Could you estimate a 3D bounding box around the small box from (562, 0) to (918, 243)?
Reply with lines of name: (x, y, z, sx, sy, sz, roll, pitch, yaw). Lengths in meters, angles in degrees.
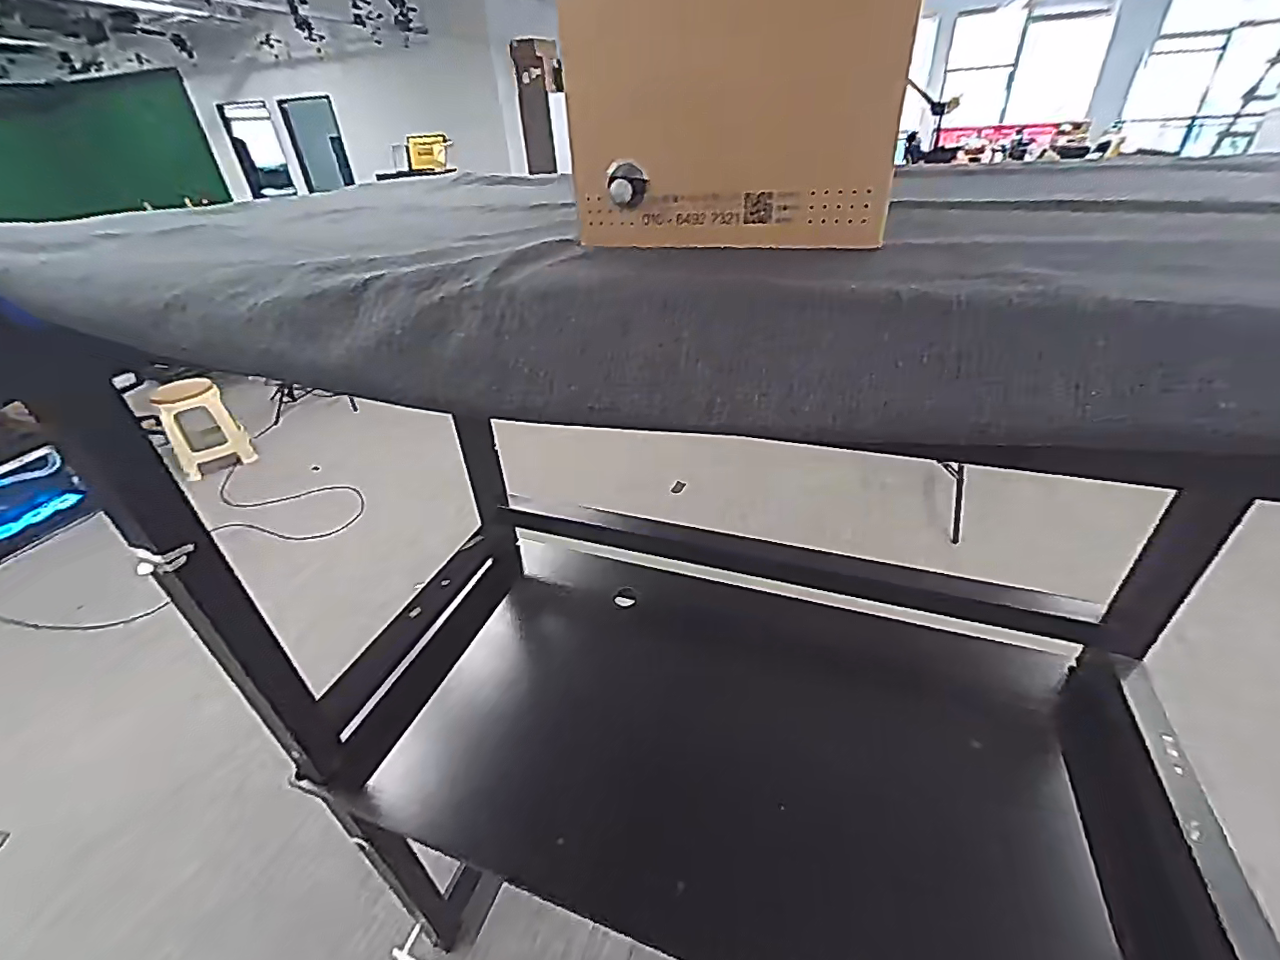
small box: (0.066, -0.240, 0.316, 0.168, 0.176, 0.179, 8, 33, 18)
